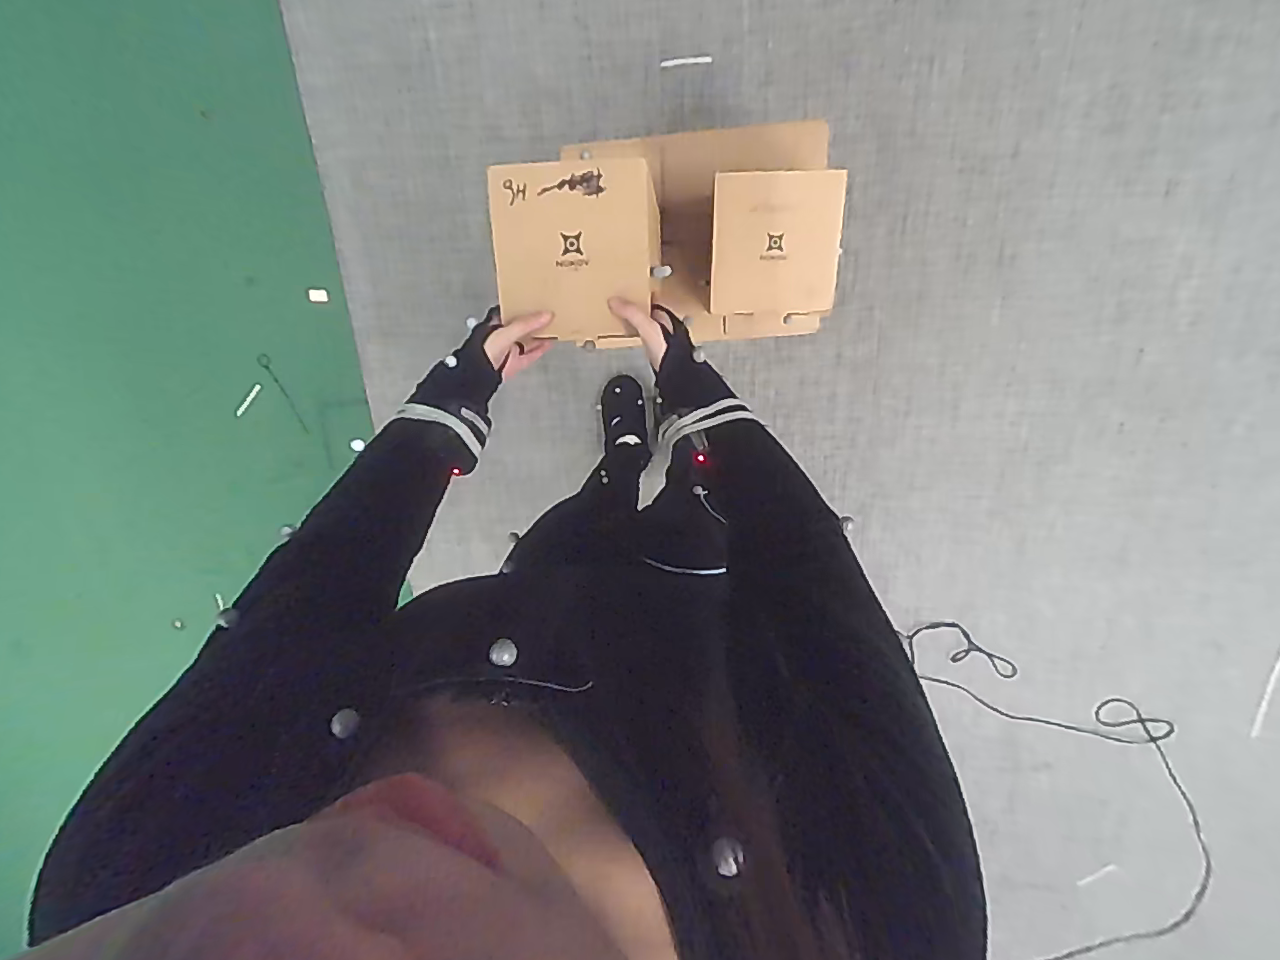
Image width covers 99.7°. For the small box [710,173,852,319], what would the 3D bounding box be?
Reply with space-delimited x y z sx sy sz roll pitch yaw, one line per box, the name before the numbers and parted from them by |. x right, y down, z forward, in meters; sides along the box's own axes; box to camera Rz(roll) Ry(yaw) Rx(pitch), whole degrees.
small box | 0.188 -0.327 0.776 0.168 0.176 0.179 2 109 5

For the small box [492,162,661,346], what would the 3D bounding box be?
small box | -0.061 -0.256 0.642 0.168 0.176 0.179 0 106 4
